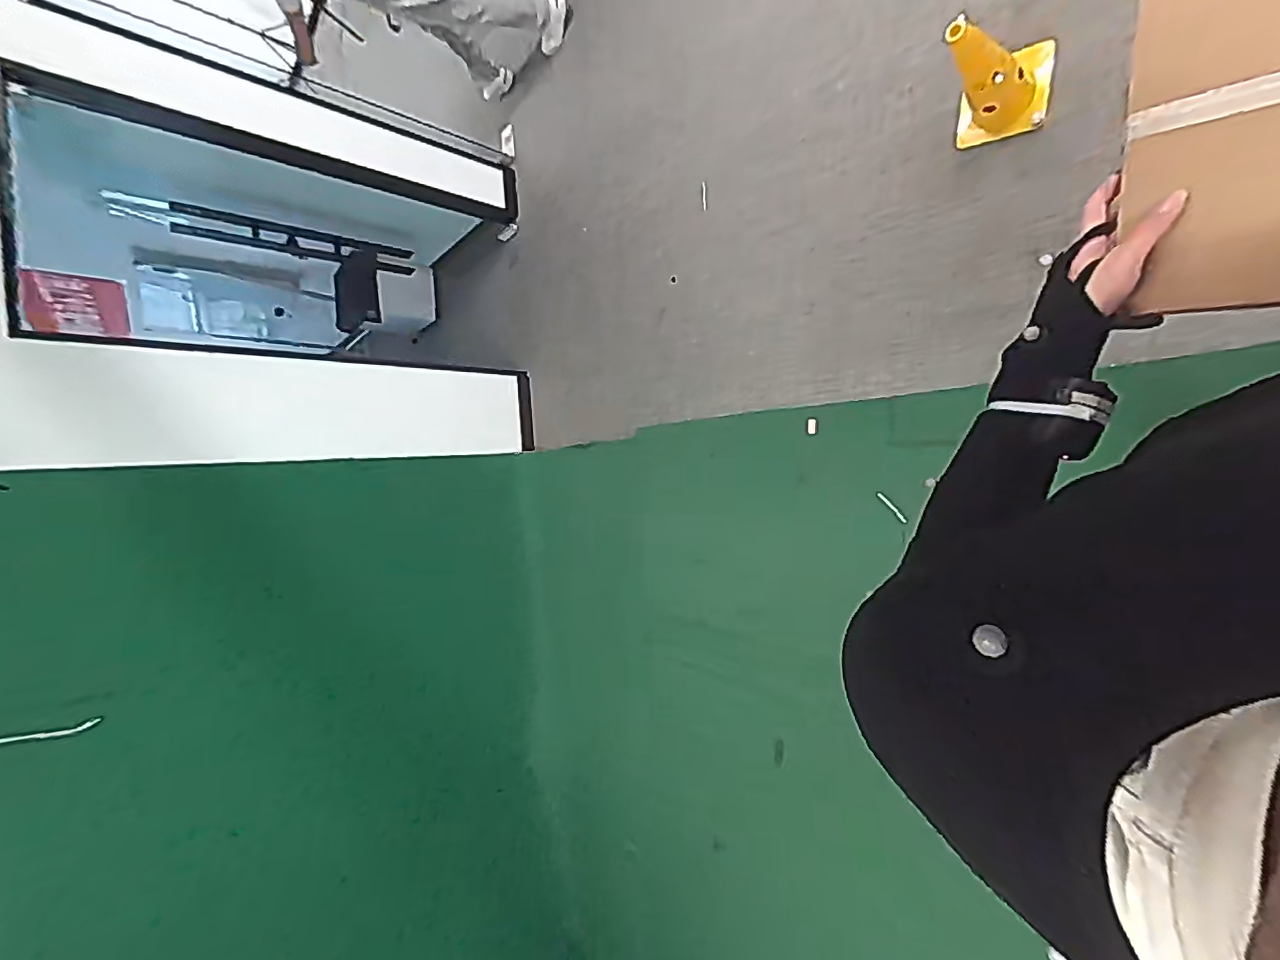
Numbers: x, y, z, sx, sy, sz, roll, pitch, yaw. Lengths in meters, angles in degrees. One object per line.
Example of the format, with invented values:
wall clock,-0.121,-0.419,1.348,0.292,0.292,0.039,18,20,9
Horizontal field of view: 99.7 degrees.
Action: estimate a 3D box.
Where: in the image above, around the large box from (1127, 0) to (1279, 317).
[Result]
large box,0.675,-0.313,0.425,0.408,0.320,0.320,8,108,46
